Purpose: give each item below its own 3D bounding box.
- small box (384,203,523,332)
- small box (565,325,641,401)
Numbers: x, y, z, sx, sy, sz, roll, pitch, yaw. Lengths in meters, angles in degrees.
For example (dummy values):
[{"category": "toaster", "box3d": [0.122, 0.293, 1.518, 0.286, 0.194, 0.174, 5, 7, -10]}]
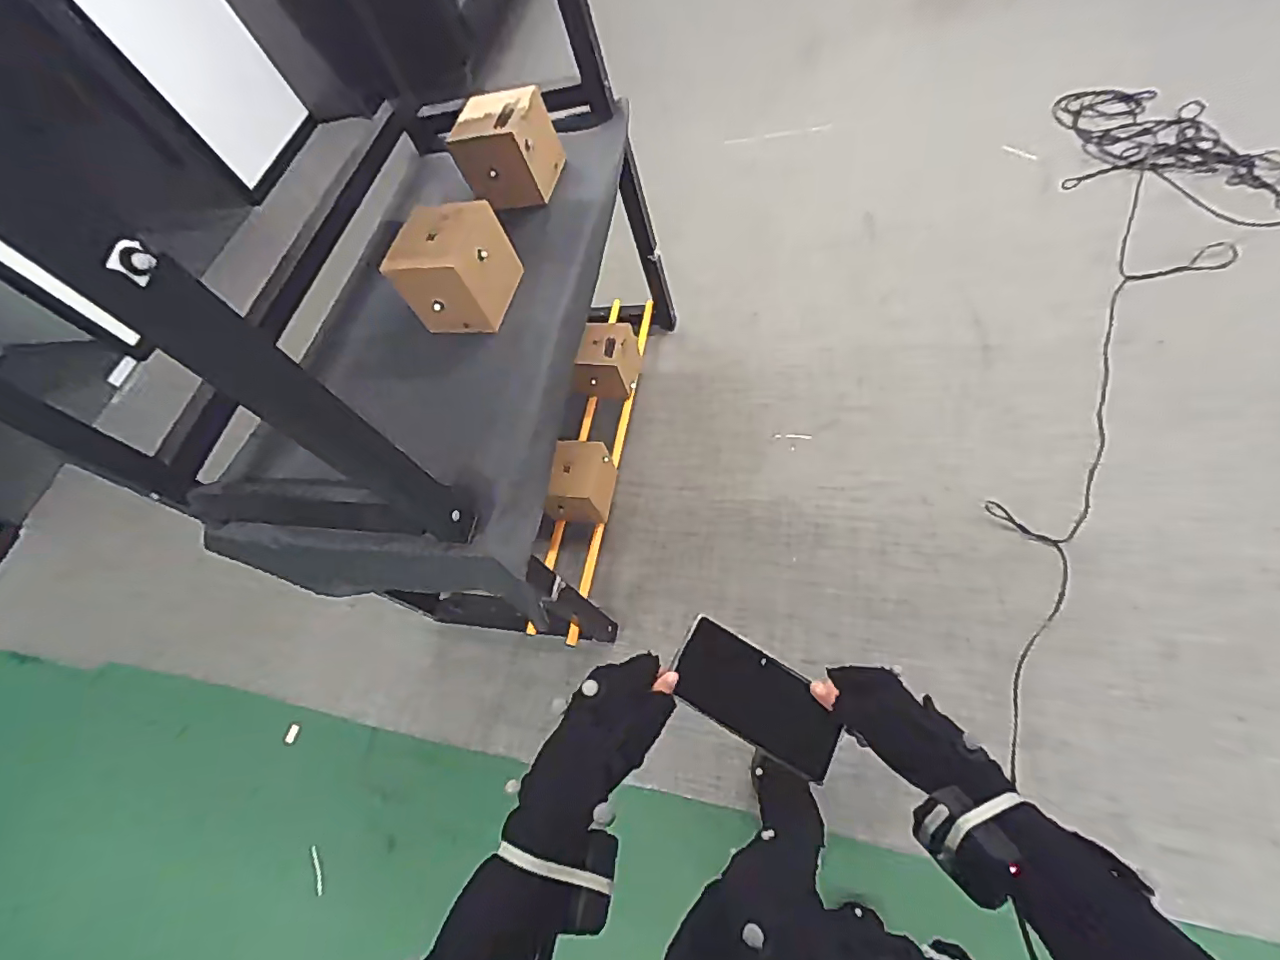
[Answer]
[{"category": "small box", "box3d": [-0.354, -0.410, 1.065, 0.168, 0.176, 0.179, 6, 63, 19]}, {"category": "small box", "box3d": [-0.108, -0.366, 1.705, 0.179, 0.176, 0.168, 6, 63, 19]}]
